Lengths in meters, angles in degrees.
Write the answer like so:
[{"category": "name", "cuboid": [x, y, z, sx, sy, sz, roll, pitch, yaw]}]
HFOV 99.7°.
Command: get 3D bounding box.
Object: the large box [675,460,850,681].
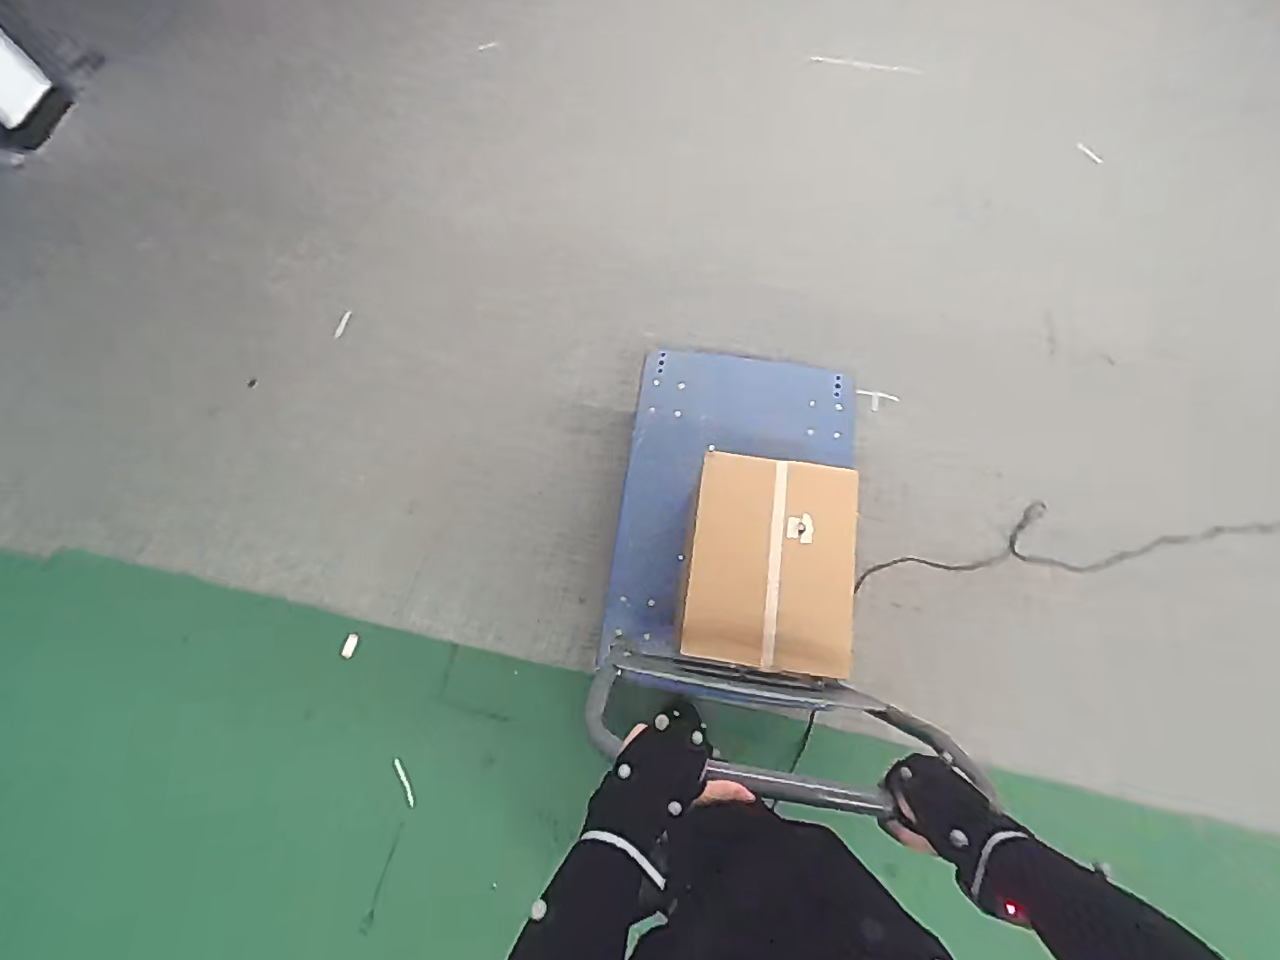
[{"category": "large box", "cuboid": [0.255, 0.209, 1.202, 0.320, 0.320, 0.408, 8, 74, 3]}]
